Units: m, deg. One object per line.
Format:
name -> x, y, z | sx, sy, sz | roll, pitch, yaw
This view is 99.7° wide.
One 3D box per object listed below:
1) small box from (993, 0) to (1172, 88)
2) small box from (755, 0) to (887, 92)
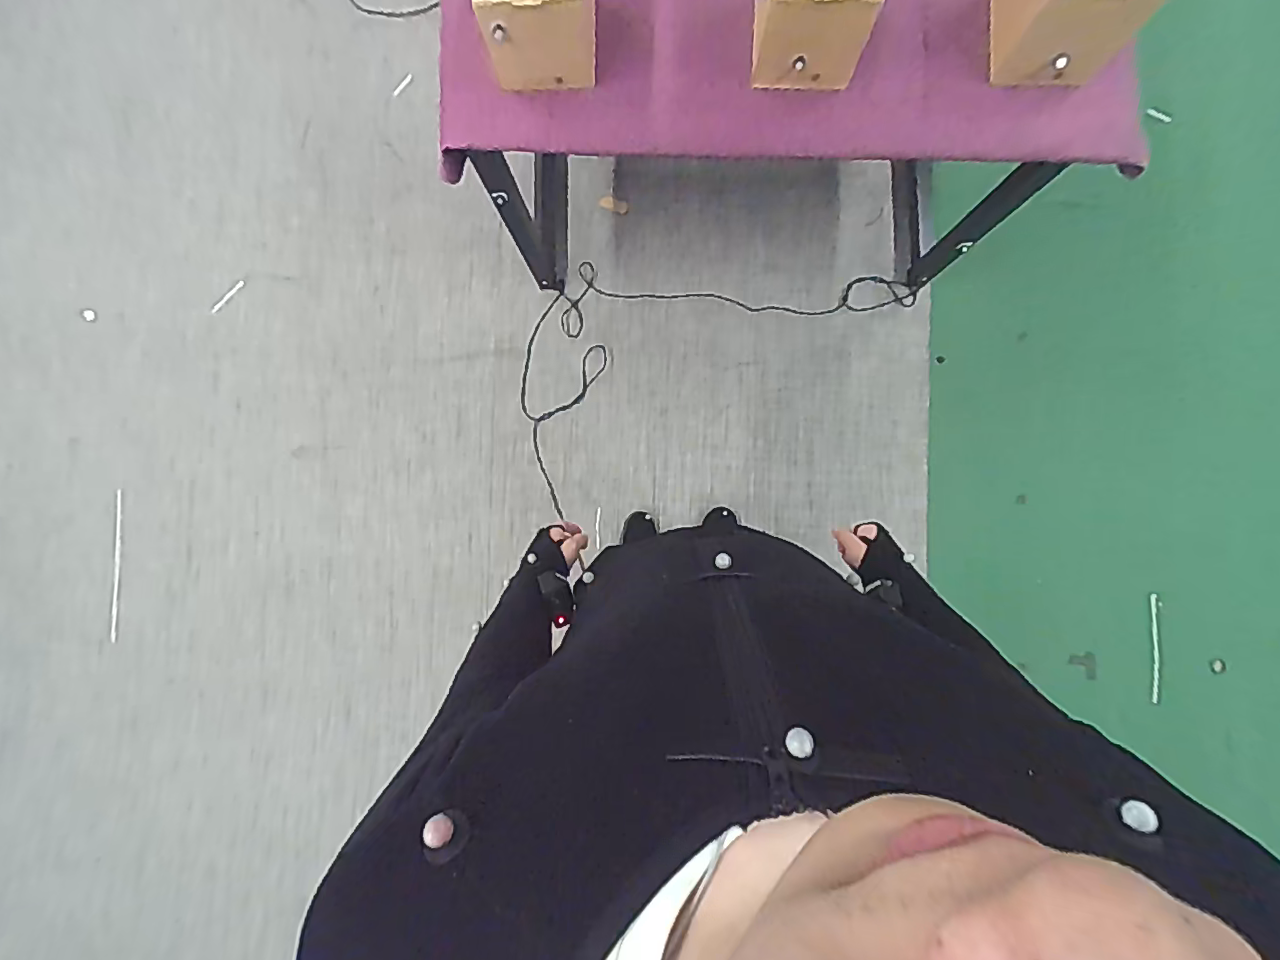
small box -> 0.688, -0.767, 0.852 | 0.168, 0.176, 0.179 | 3, 86, 3
small box -> 0.284, -0.775, 0.871 | 0.168, 0.176, 0.179 | 3, 87, 2
